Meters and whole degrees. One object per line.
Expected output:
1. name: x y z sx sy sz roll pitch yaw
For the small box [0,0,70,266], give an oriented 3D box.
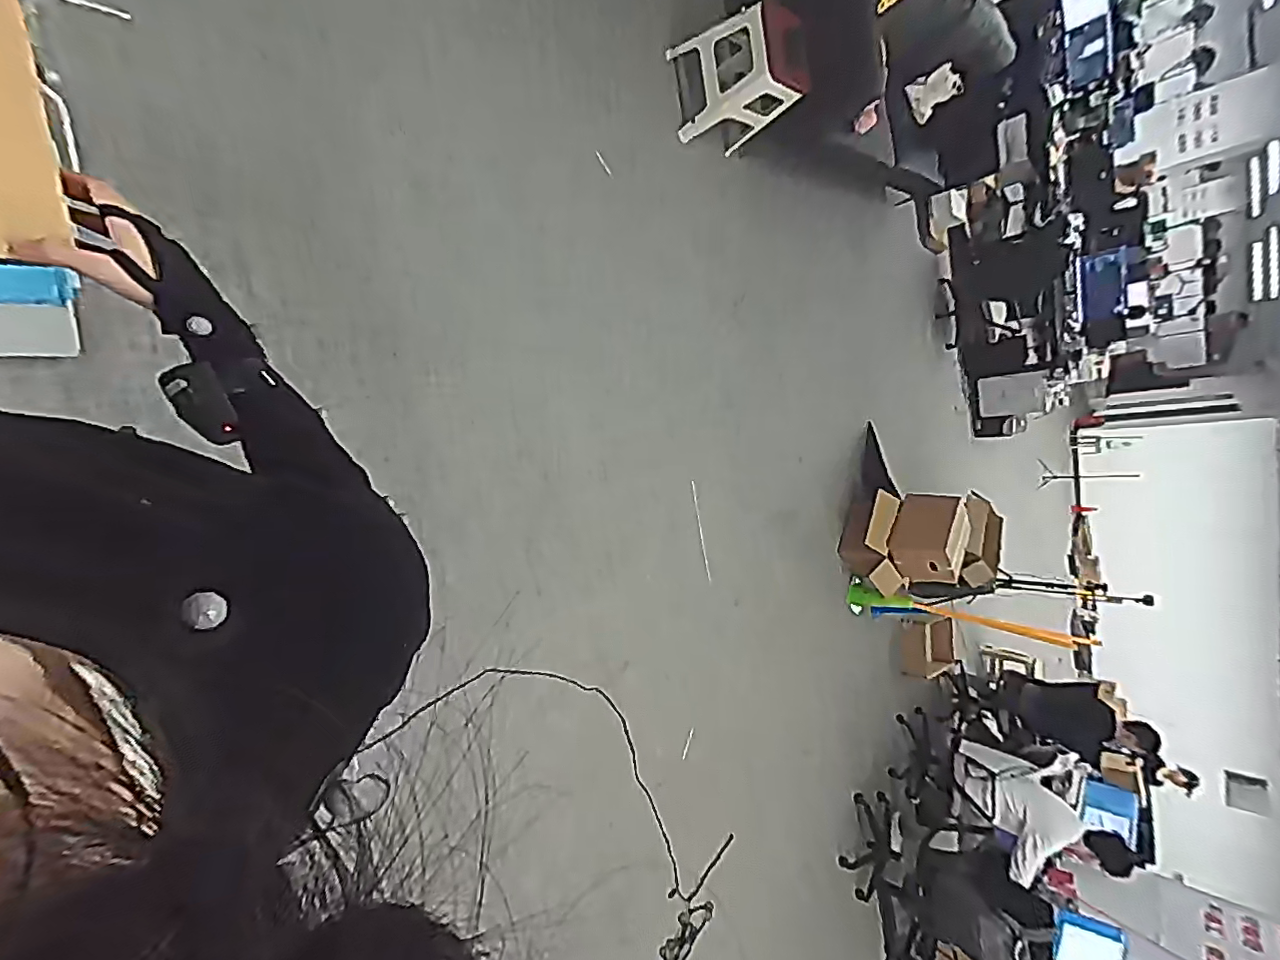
1. small box: -0.539 -0.251 0.379 0.168 0.176 0.179 -16 113 -46
